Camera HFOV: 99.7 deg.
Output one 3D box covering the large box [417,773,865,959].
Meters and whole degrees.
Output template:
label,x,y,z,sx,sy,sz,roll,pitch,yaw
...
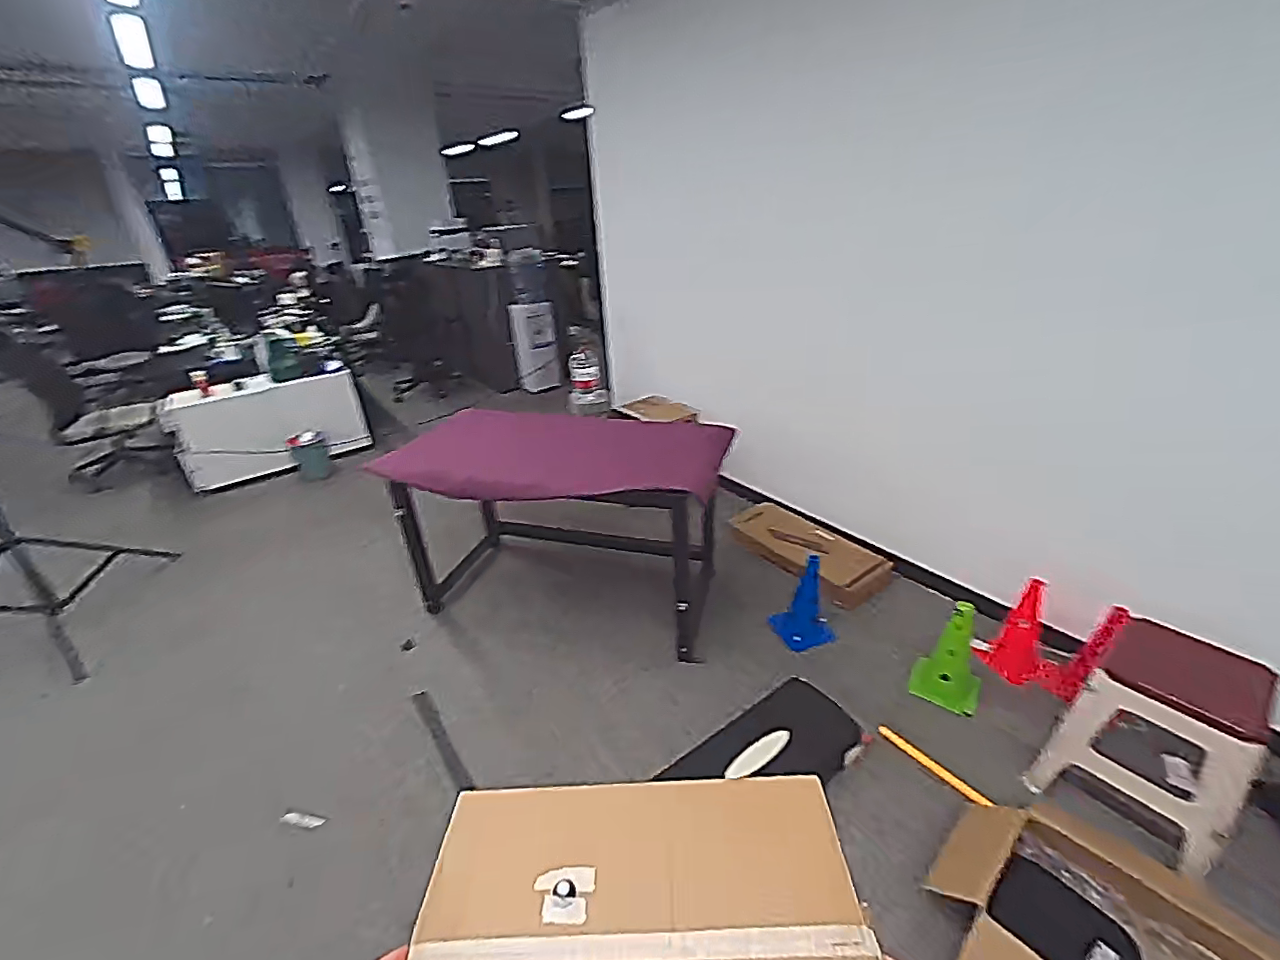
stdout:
label,x,y,z,sx,sy,sz,roll,pitch,yaw
large box,0.010,0.550,0.543,0.408,0.320,0.320,-6,25,1
